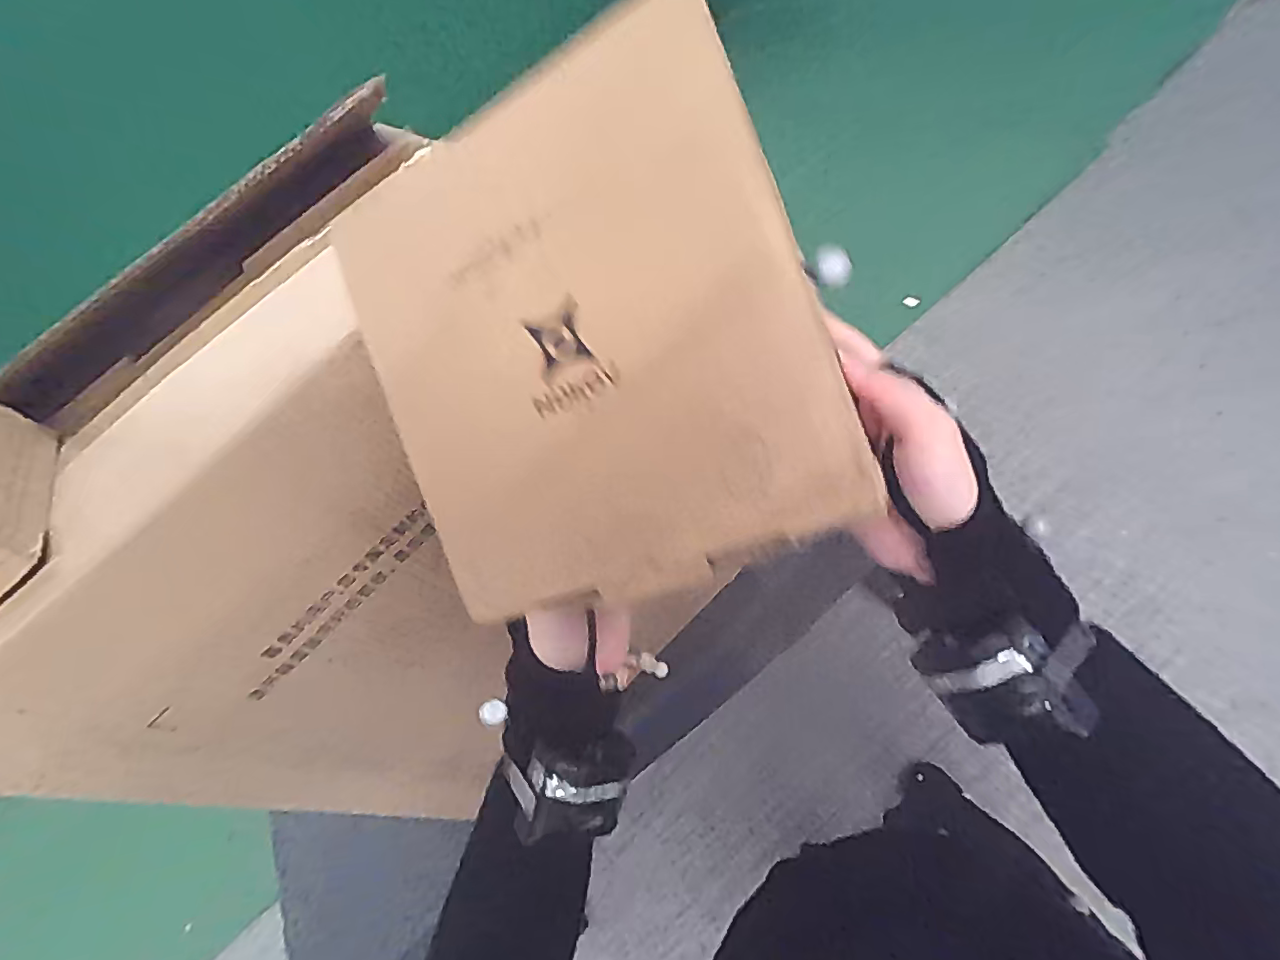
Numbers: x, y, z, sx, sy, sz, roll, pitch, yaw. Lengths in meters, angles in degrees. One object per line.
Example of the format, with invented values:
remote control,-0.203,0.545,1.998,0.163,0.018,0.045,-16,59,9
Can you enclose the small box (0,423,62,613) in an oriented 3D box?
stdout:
small box,-0.487,0.029,0.302,0.168,0.176,0.179,-47,51,-7

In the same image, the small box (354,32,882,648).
small box,0.007,-0.044,0.270,0.168,0.176,0.179,-21,89,22
